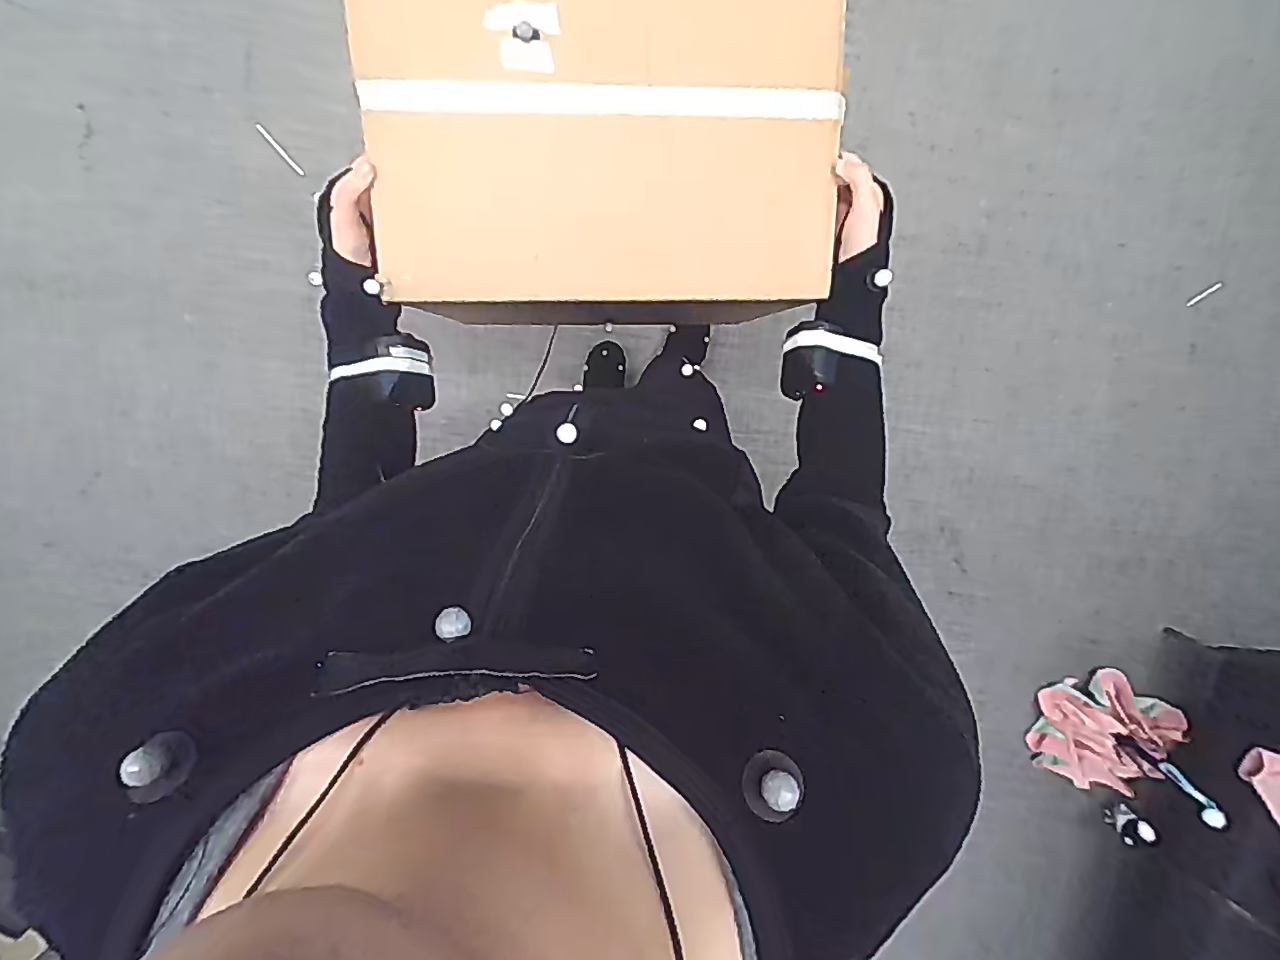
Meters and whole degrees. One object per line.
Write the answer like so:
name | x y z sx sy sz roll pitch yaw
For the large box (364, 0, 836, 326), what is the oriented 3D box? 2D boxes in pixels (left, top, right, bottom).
large box | -0.036 -0.345 0.616 0.408 0.320 0.320 -2 102 -4
